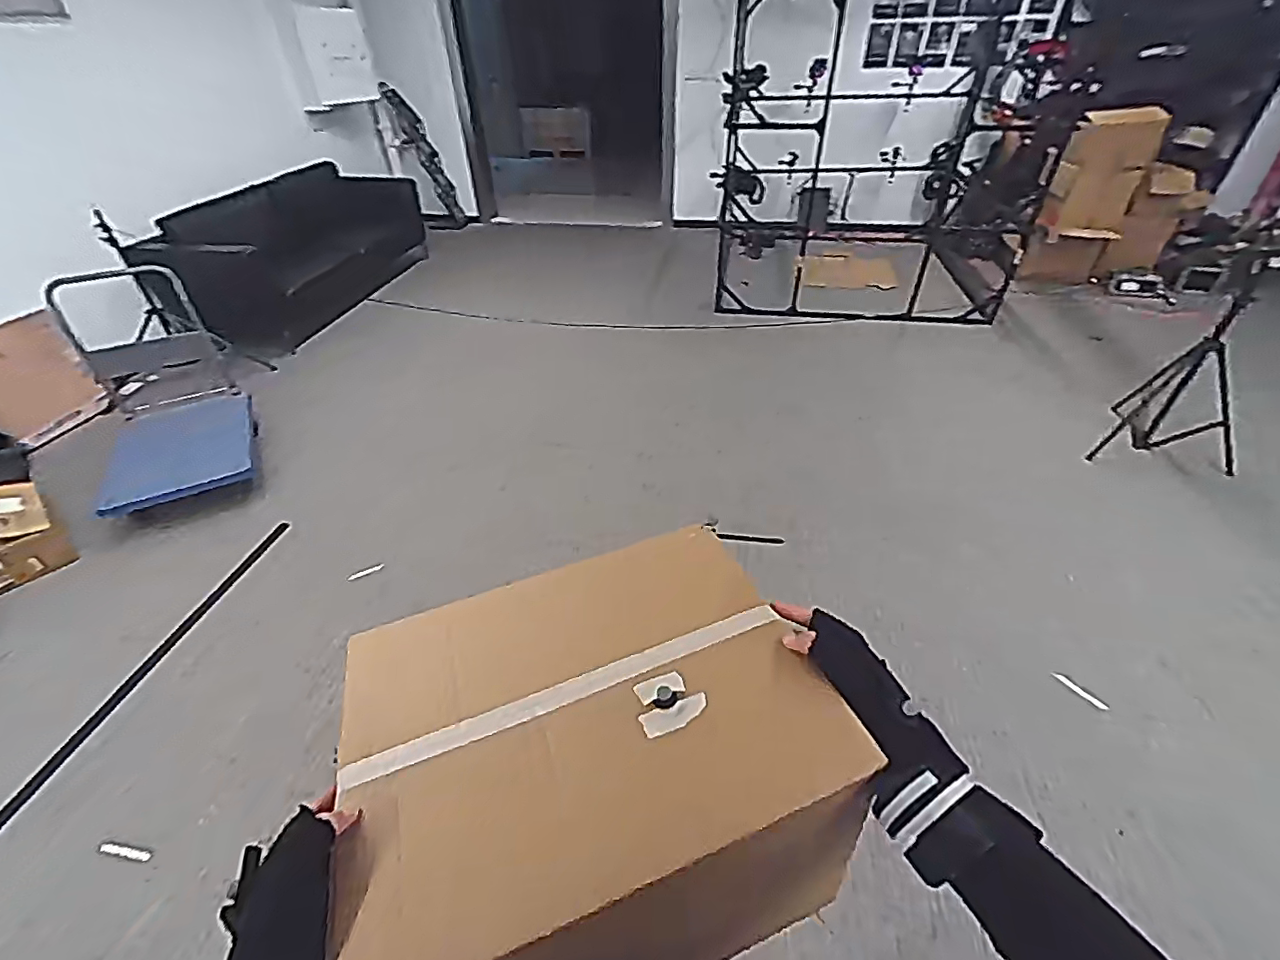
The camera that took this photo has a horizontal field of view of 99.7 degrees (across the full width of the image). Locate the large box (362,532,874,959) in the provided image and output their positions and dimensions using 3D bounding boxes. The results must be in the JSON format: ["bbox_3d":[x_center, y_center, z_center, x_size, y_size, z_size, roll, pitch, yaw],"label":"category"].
[{"bbox_3d":[-0.033,0.317,0.587,0.408,0.320,0.320,-16,38,-14],"label":"large box"}]
